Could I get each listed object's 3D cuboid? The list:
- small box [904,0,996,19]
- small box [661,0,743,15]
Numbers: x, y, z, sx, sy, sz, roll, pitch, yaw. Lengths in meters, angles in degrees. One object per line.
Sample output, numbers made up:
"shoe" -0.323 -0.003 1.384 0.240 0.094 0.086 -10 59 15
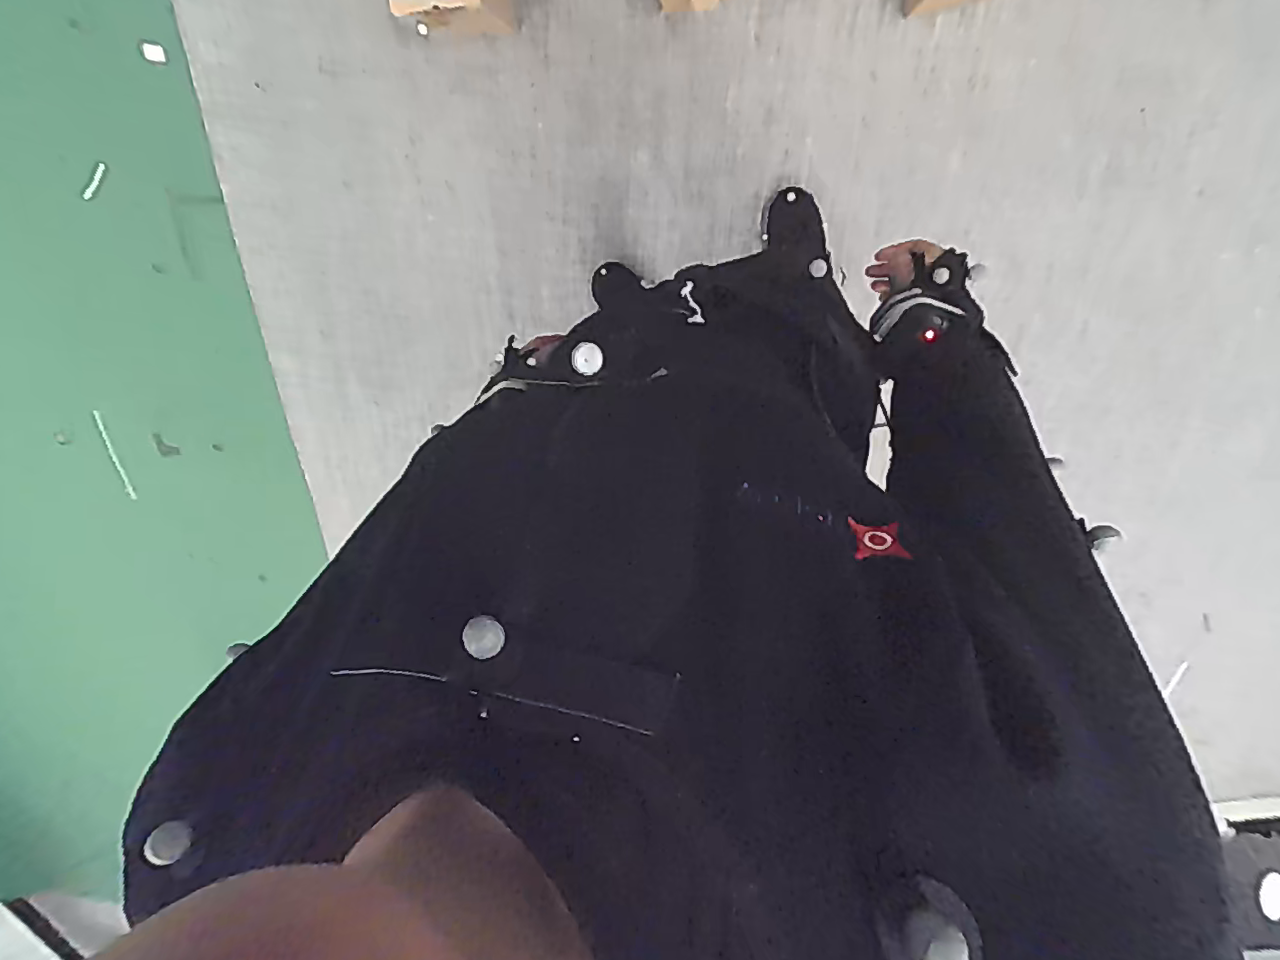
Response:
"small box" 0.515 -0.848 0.829 0.168 0.176 0.179 -7 115 11
"small box" 0.100 -0.898 0.872 0.168 0.176 0.179 -3 117 11
